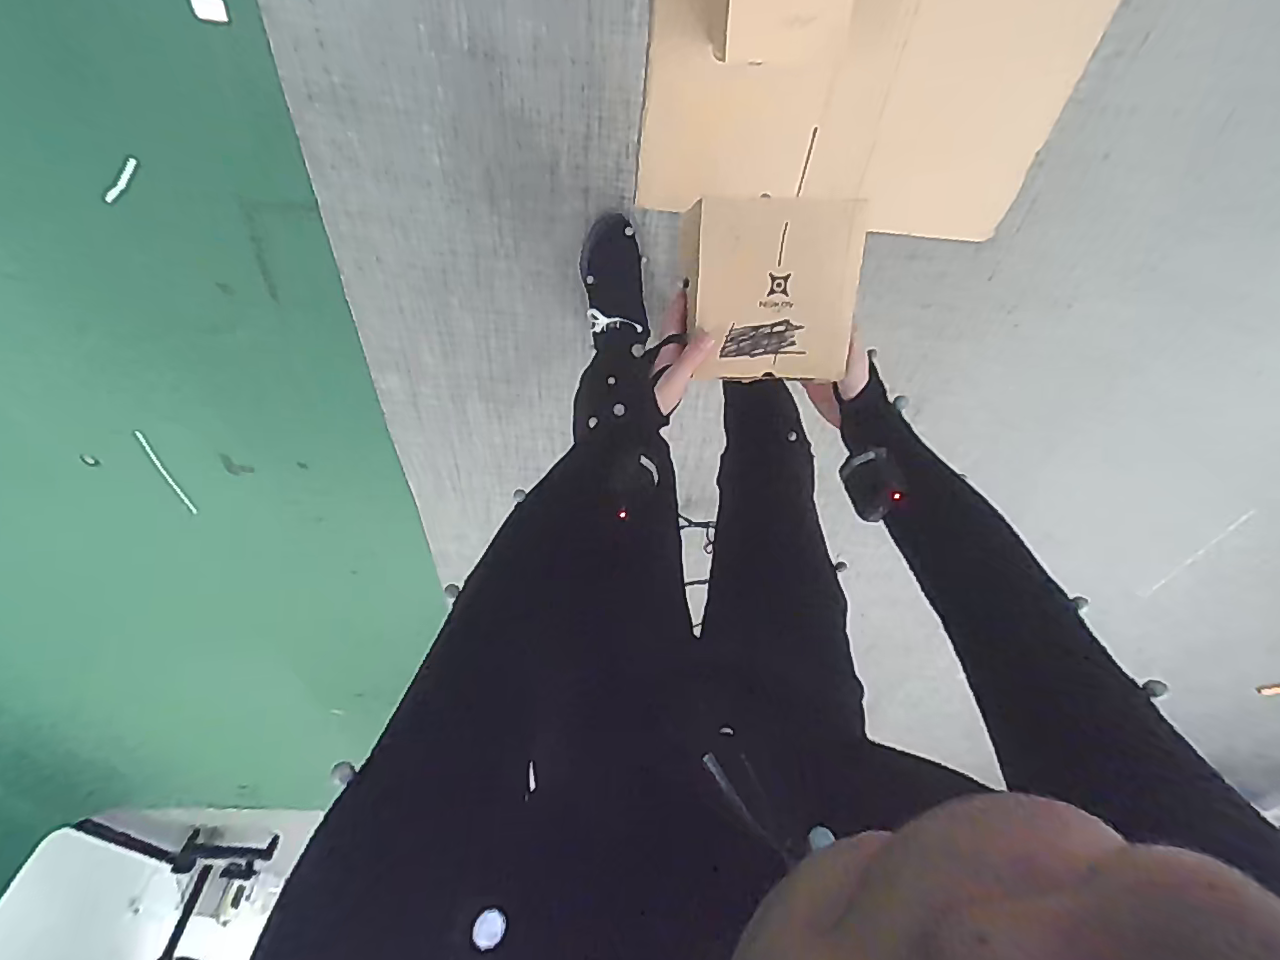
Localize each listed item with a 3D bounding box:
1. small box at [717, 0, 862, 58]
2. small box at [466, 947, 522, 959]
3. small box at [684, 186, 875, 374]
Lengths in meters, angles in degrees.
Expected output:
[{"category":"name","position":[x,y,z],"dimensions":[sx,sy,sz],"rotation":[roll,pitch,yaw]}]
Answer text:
[{"category":"small box","position":[0.195,-0.676,0.710],"dimensions":[0.168,0.176,0.179],"rotation":[-1,135,1]},{"category":"small box","position":[-0.479,1.615,1.738],"dimensions":[0.168,0.176,0.179],"rotation":[3,136,-2]},{"category":"small box","position":[0.141,-0.222,0.614],"dimensions":[0.168,0.176,0.179],"rotation":[0,110,-1]}]
